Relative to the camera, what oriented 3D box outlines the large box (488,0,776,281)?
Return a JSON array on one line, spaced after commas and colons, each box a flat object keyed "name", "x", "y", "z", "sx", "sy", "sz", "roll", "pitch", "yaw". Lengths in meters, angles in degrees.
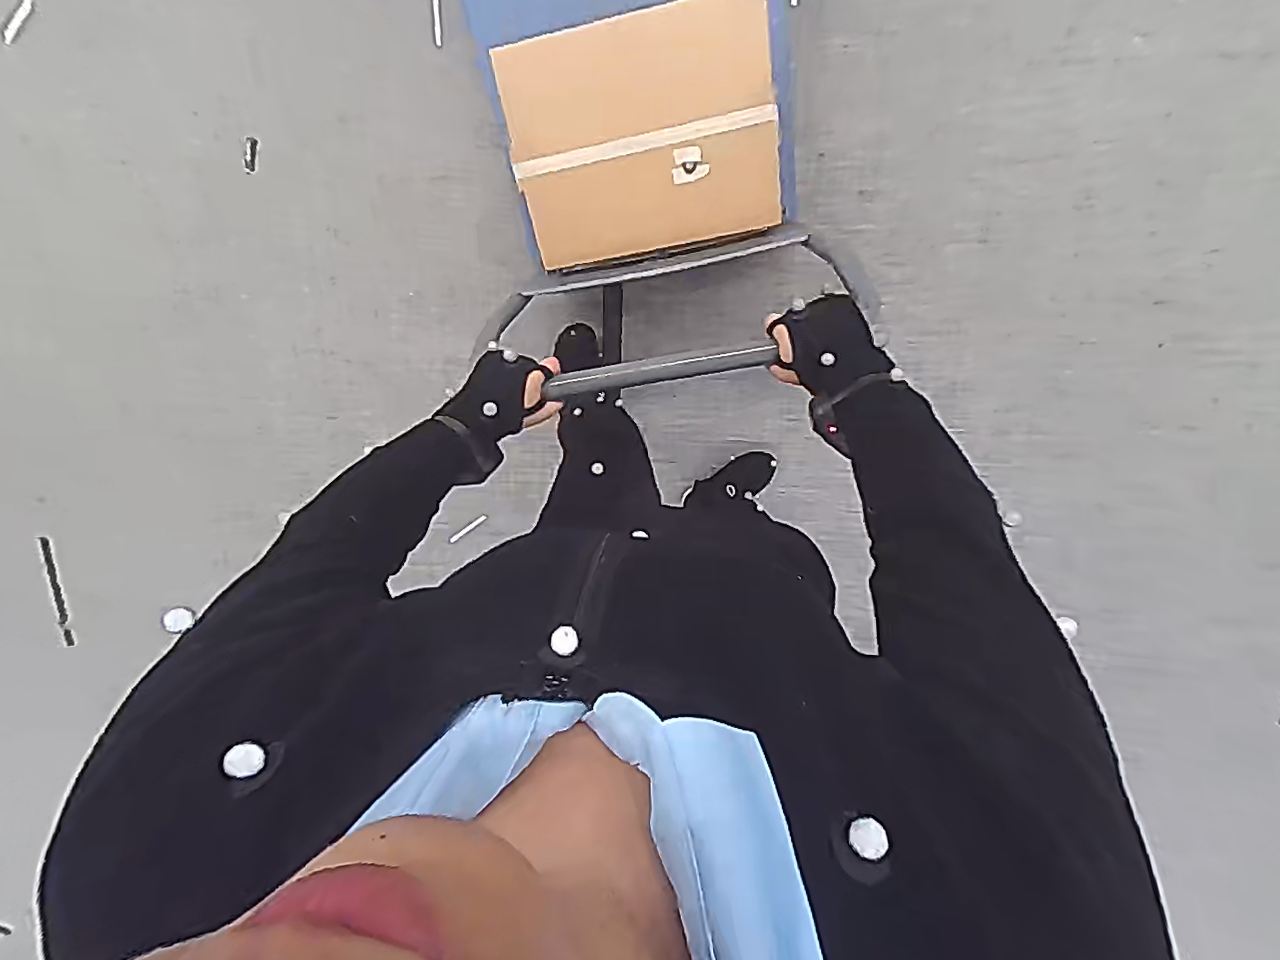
[{"name": "large box", "x": 0.002, "y": -0.575, "z": 0.966, "sx": 0.408, "sy": 0.320, "sz": 0.320, "roll": -9, "pitch": 118, "yaw": 7}]
